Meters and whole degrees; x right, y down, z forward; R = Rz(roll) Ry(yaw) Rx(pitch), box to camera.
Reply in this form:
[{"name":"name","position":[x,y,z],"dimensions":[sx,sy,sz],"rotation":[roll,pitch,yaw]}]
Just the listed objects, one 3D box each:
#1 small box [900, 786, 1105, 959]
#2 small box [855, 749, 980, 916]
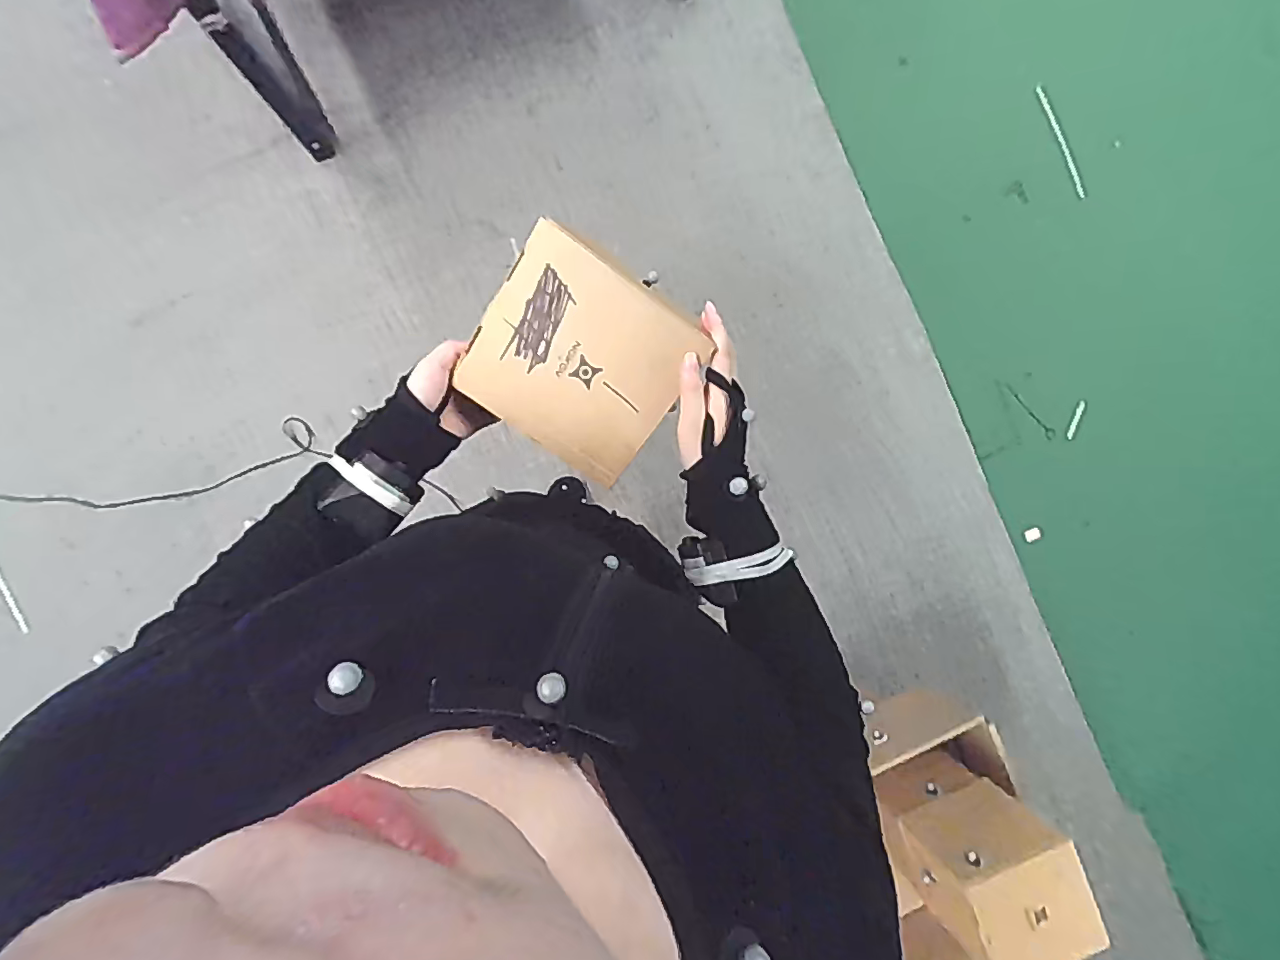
[{"name":"small box","position":[0.545,0.616,0.835],"dimensions":[0.179,0.176,0.168],"rotation":[-20,91,-4]},{"name":"small box","position":[0.535,0.633,0.997],"dimensions":[0.179,0.176,0.168],"rotation":[-21,91,-4]}]
